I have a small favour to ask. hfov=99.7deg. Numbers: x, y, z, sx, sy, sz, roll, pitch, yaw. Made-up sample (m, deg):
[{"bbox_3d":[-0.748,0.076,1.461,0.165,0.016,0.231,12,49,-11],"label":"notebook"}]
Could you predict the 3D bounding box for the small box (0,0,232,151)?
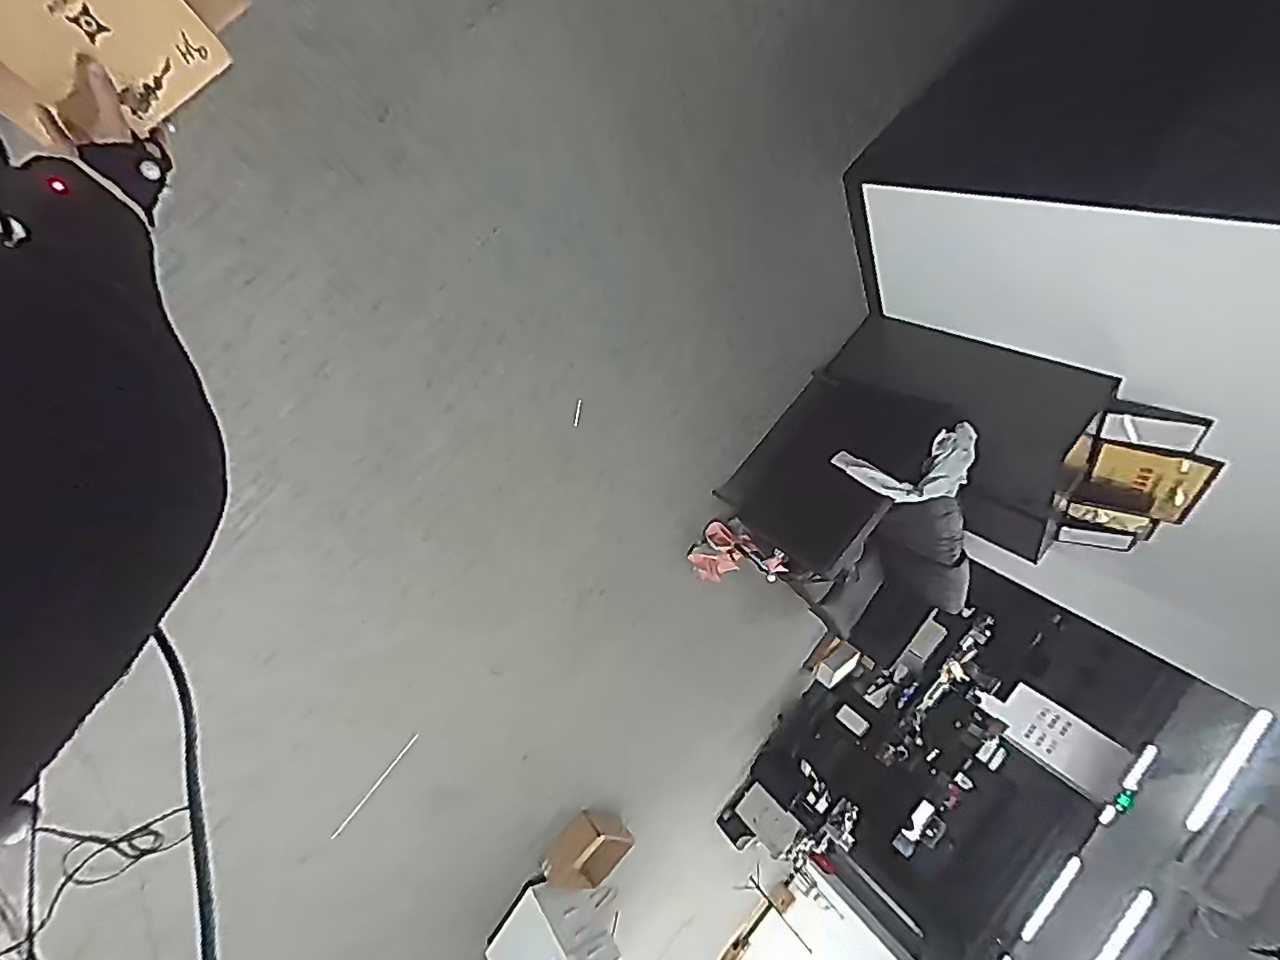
[{"bbox_3d":[-0.572,-0.473,0.555,0.168,0.176,0.179,-47,139,-6],"label":"small box"}]
